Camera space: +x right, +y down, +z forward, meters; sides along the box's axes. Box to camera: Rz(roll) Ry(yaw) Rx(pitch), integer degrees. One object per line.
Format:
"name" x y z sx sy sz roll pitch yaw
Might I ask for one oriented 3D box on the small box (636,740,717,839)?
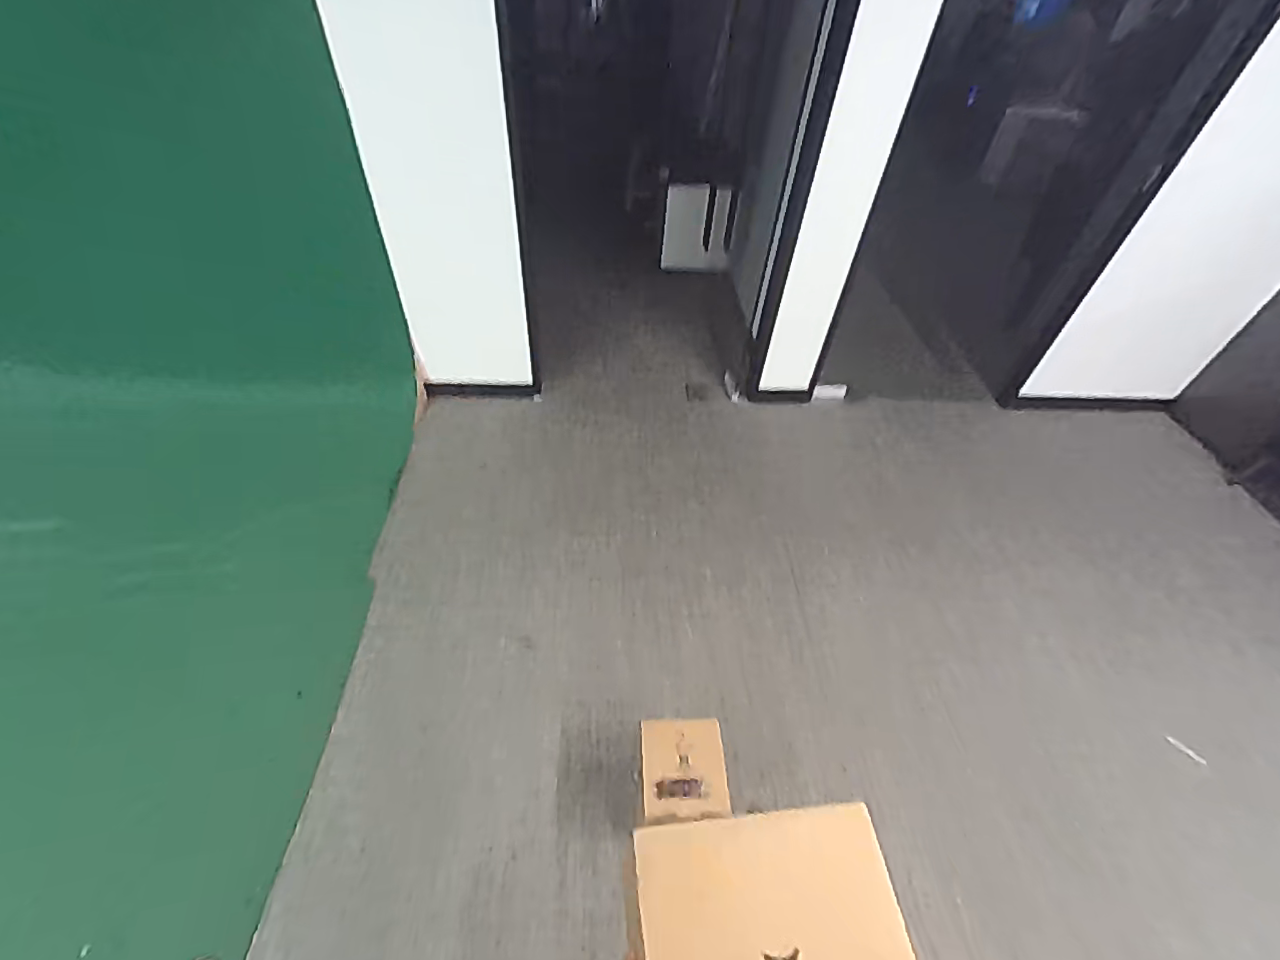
"small box" 0.076 0.722 1.250 0.168 0.176 0.179 1 48 -3

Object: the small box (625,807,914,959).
"small box" 0.081 0.351 0.379 0.168 0.176 0.179 -3 52 -7
